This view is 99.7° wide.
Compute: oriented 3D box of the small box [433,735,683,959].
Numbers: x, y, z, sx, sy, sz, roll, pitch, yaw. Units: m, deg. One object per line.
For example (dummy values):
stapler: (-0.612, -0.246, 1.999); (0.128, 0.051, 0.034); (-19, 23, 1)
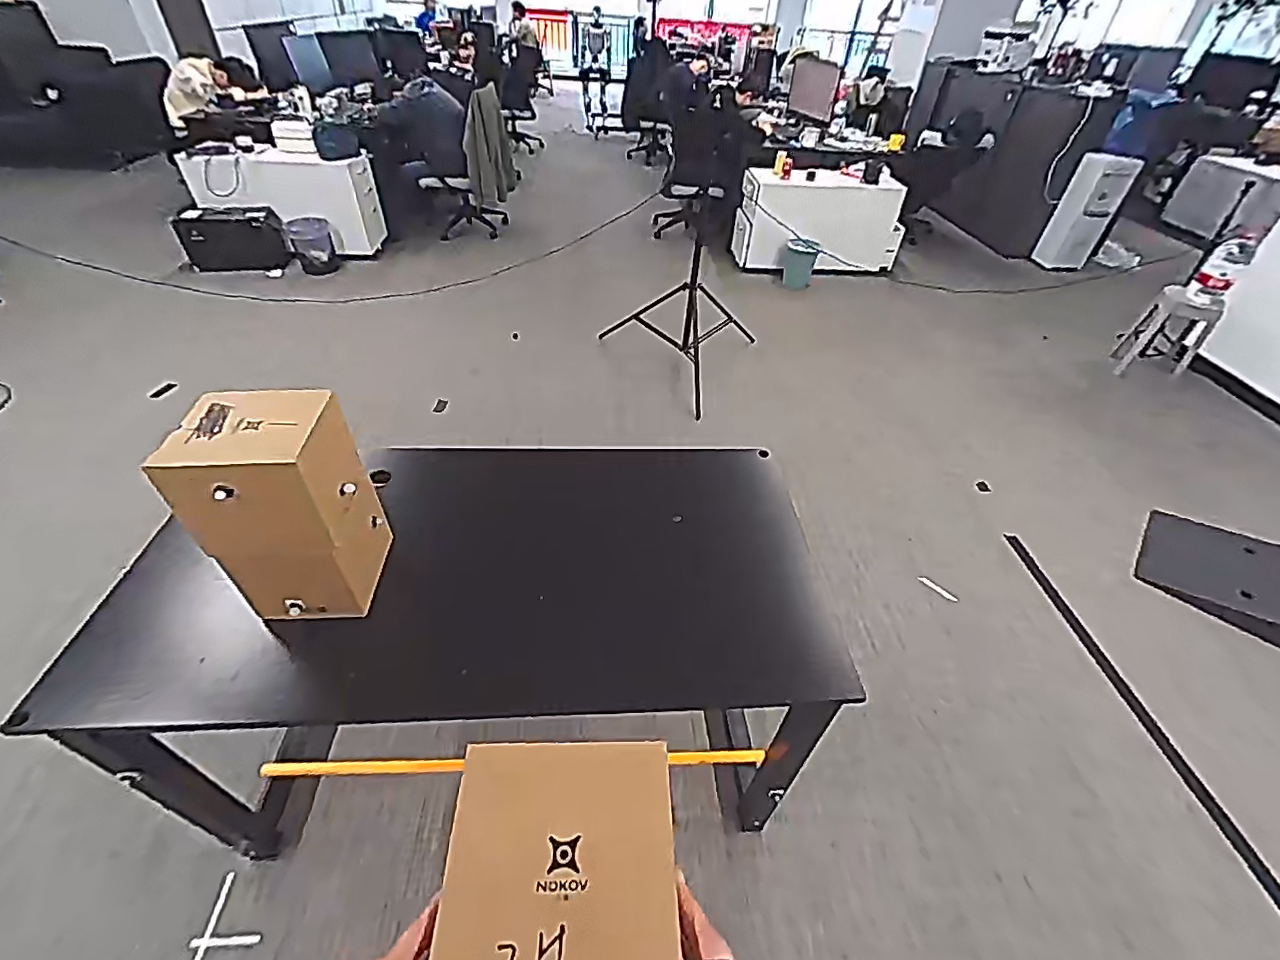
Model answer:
small box: (-0.060, 0.335, 0.448); (0.168, 0.176, 0.179); (0, 43, -4)

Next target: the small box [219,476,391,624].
small box: (-0.528, 0.113, 0.886); (0.168, 0.176, 0.179); (-2, 43, -5)

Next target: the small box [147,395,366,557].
small box: (-0.523, -0.005, 0.771); (0.179, 0.176, 0.168); (-3, 42, -7)
